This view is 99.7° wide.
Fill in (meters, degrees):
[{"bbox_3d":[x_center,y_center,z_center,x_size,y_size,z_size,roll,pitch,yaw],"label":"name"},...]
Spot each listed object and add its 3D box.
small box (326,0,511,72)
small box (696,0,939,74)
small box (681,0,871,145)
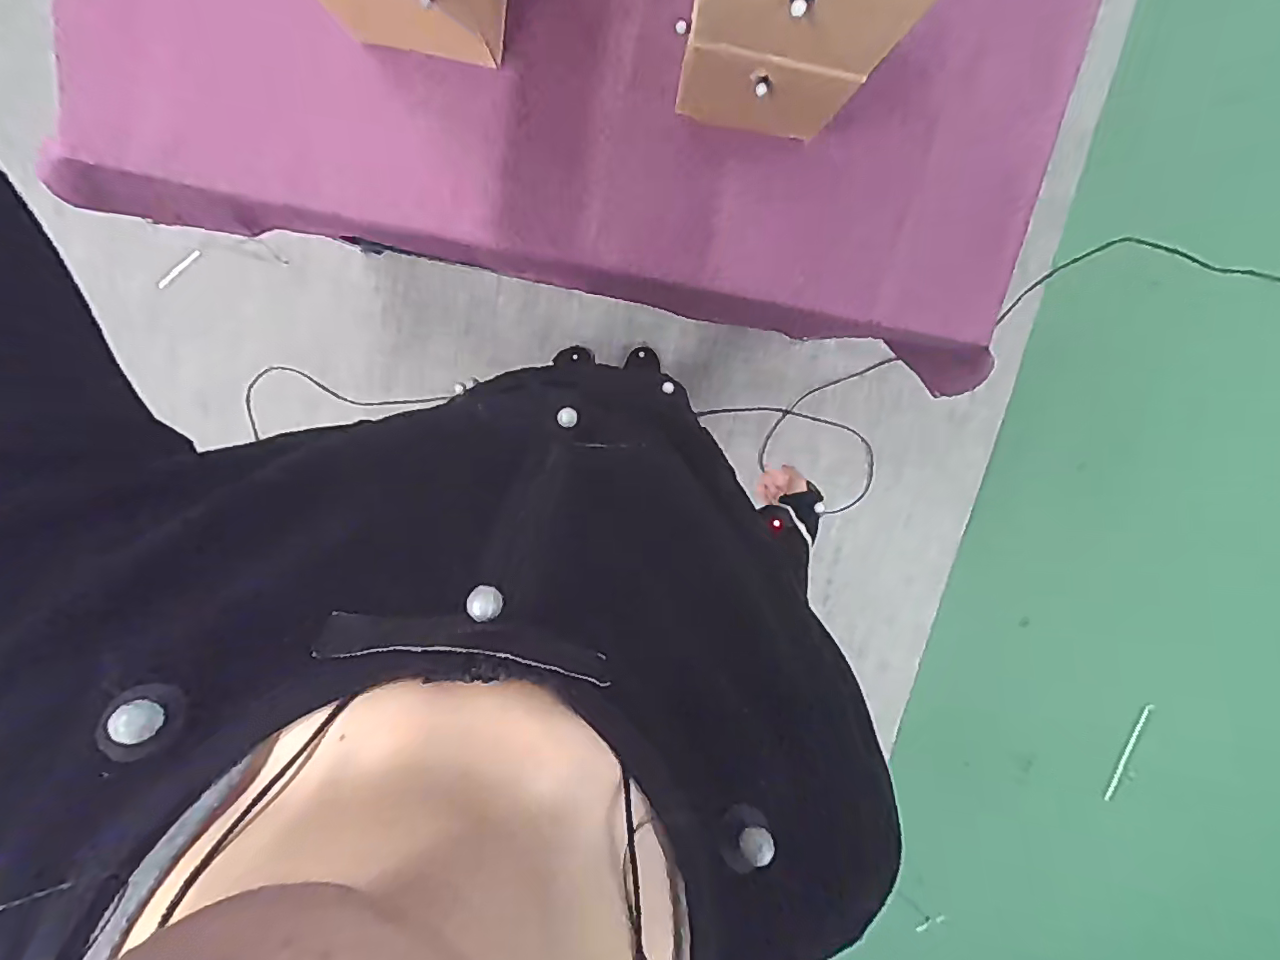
[{"bbox_3d":[-0.237,-0.563,0.557,0.179,0.176,0.168,8,102,-4],"label":"small box"},{"bbox_3d":[0.151,-0.456,0.421,0.179,0.176,0.168,10,103,-3],"label":"small box"},{"bbox_3d":[0.147,-0.492,0.581,0.179,0.176,0.168,10,103,-4],"label":"small box"}]
